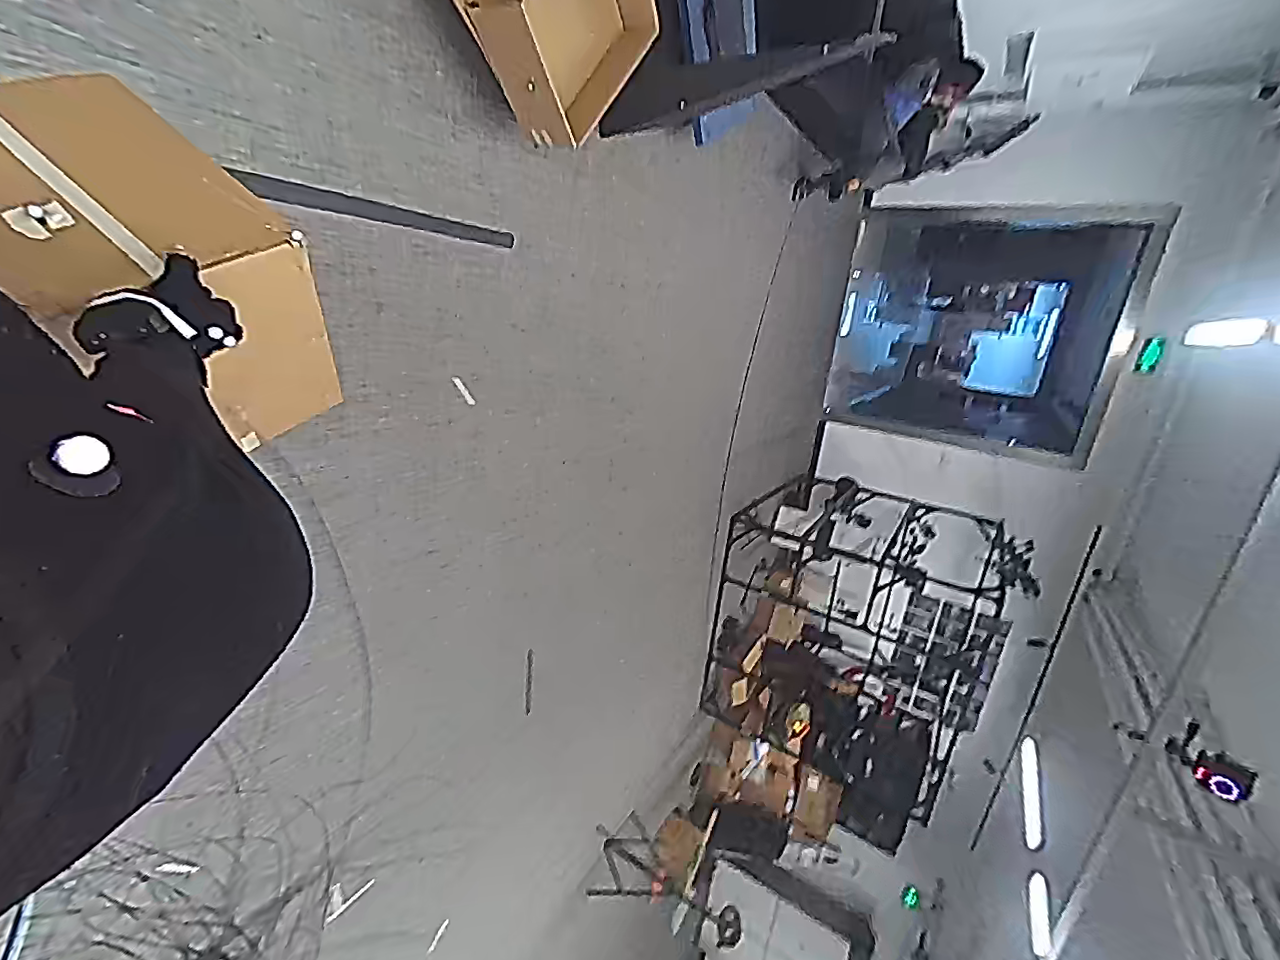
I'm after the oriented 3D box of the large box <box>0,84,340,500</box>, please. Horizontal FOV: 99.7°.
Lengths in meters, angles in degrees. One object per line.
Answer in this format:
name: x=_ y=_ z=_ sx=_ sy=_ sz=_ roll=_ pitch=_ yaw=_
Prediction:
large box: x=-0.702 y=-0.253 z=0.744 sx=0.320 sy=0.408 sz=0.320 roll=-45 pitch=171 yaw=-34
